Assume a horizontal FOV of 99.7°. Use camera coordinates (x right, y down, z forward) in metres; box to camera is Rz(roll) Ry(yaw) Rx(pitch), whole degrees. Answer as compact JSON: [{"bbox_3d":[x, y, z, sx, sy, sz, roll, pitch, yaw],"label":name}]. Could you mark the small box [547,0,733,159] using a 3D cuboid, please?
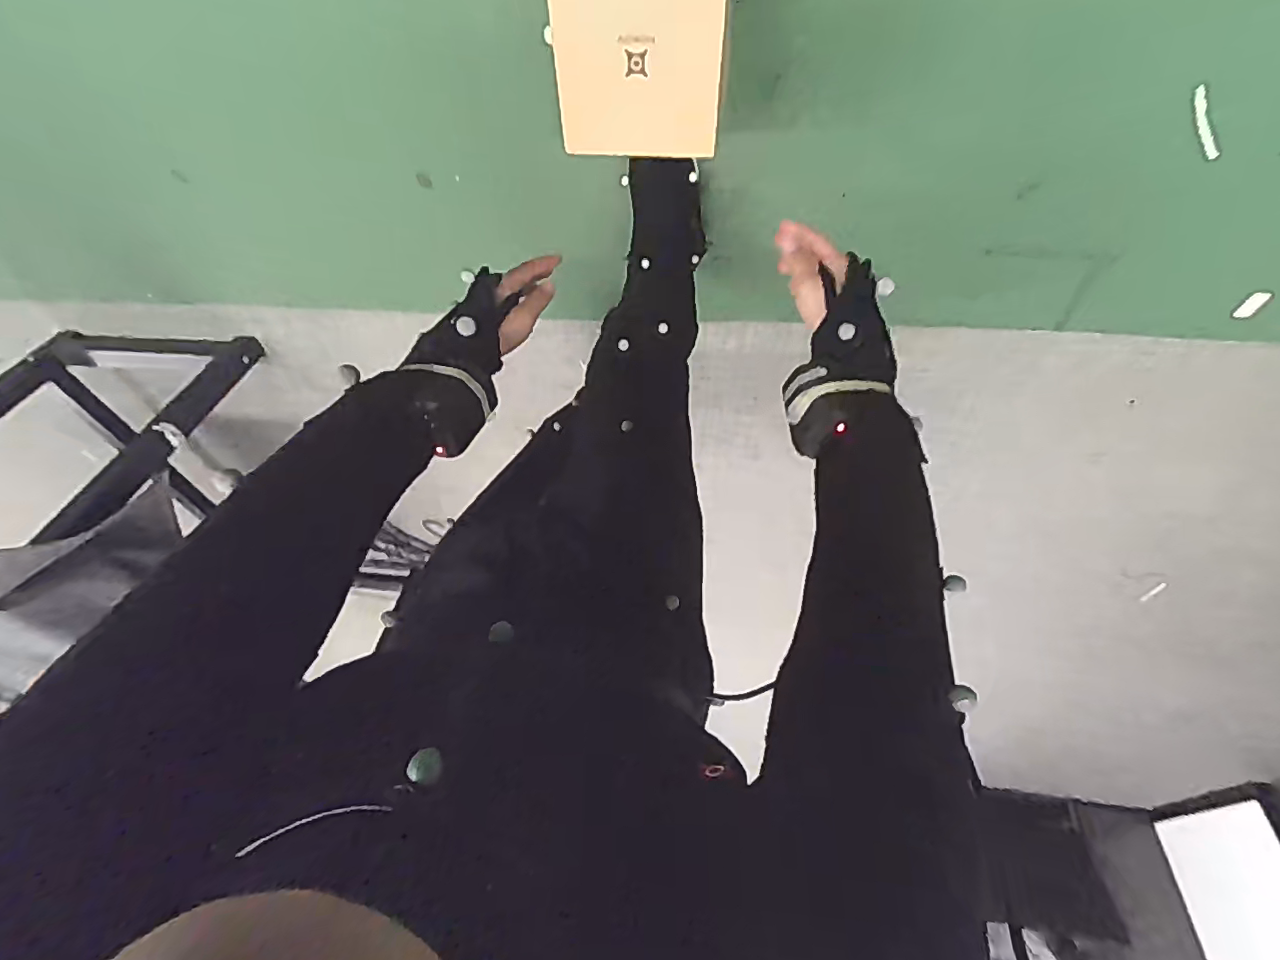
[{"bbox_3d":[0.010,-0.465,0.563,0.168,0.176,0.179,6,141,7],"label":"small box"}]
